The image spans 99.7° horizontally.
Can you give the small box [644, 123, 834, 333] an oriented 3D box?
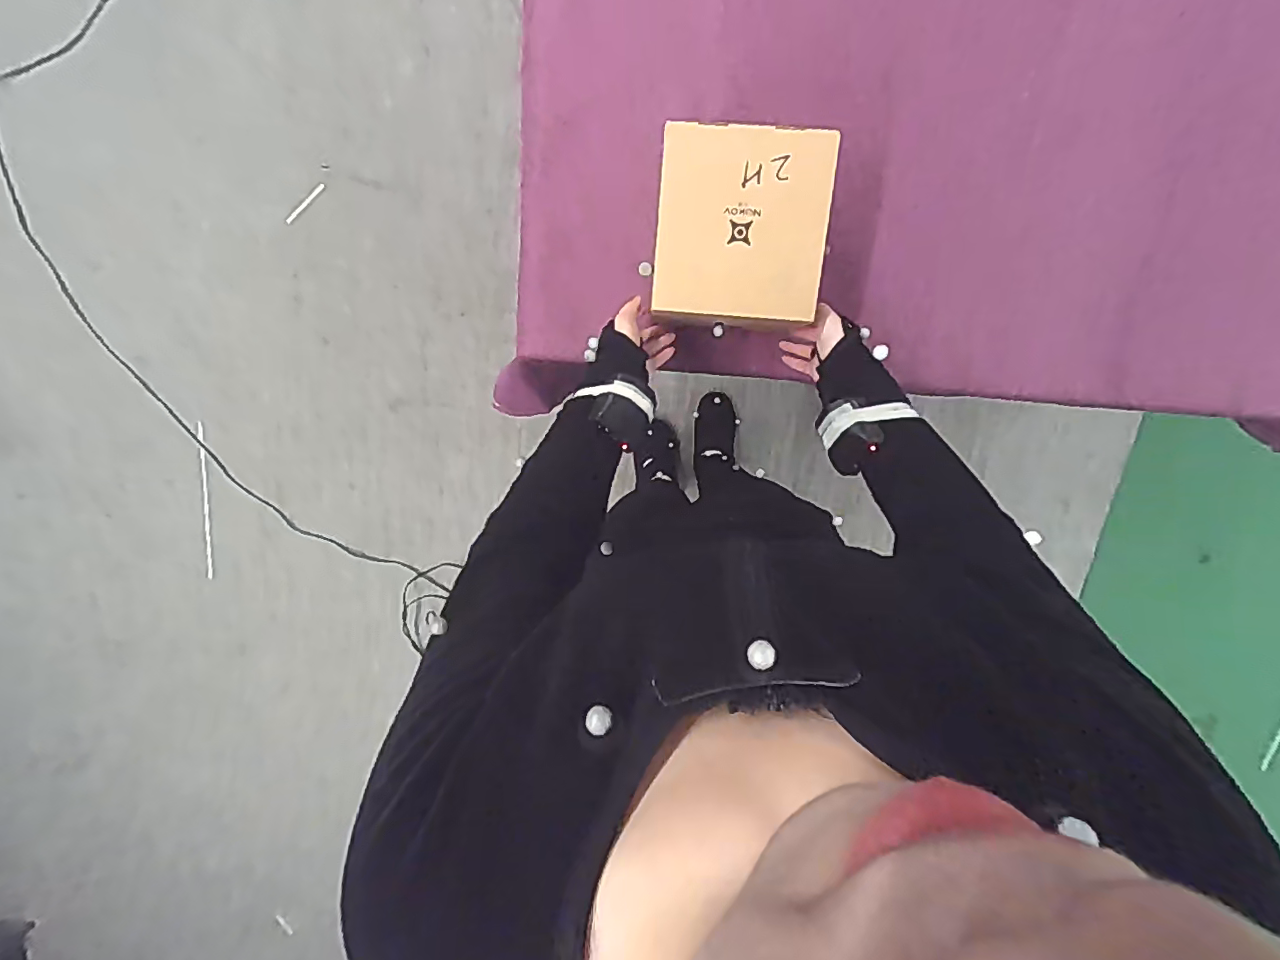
[{"bbox_3d":[0.098,-0.262,0.605,0.168,0.176,0.179,6,102,2],"label":"small box"}]
